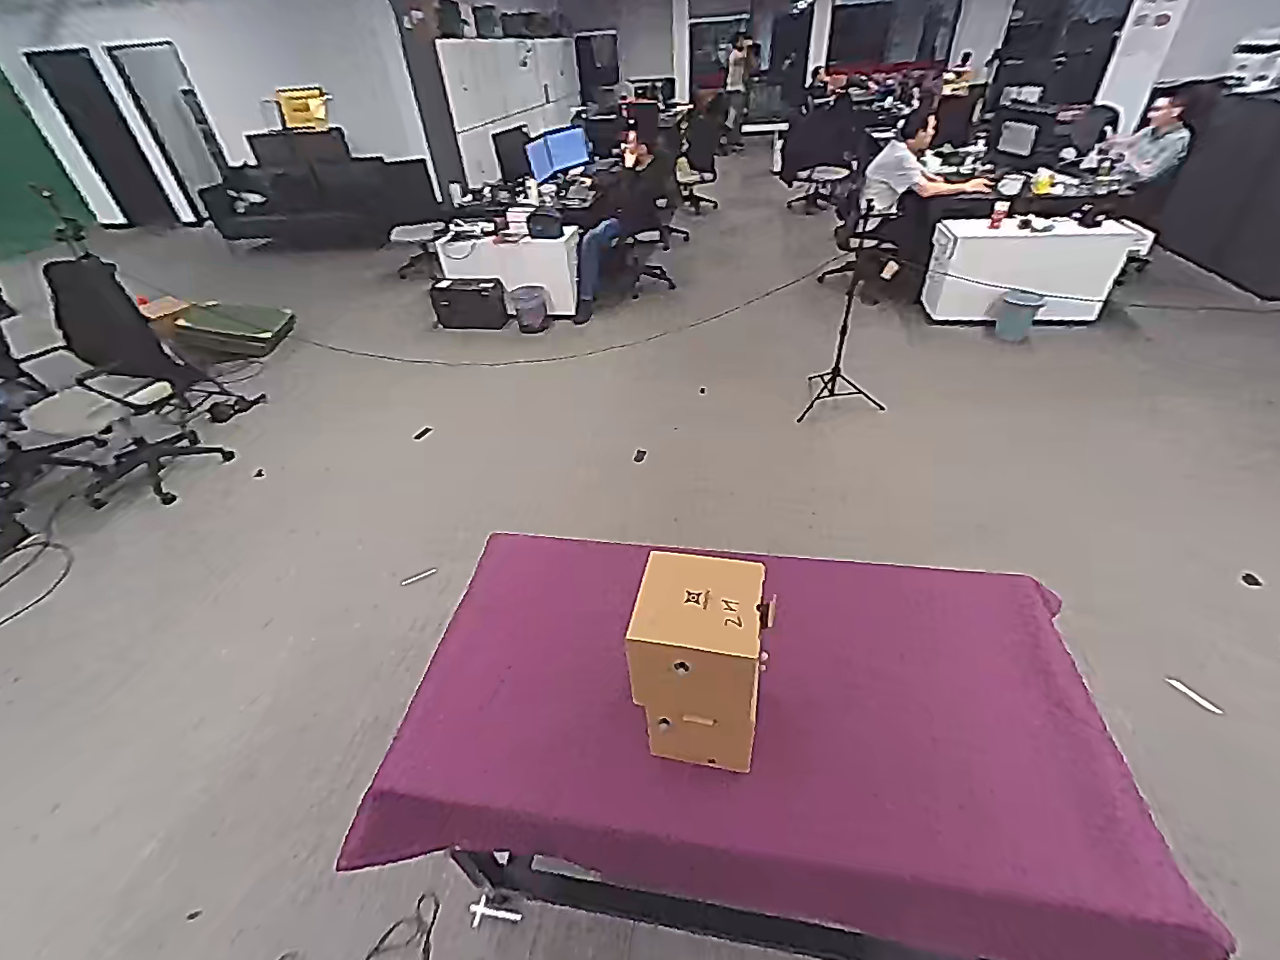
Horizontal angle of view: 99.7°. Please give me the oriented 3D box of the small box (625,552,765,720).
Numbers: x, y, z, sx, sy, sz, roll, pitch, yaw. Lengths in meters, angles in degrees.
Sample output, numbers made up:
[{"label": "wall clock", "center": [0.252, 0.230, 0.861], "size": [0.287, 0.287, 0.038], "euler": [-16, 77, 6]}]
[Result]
[{"label": "small box", "center": [0.087, 0.233, 0.810], "size": [0.179, 0.176, 0.168], "euler": [6, 40, 13]}]
